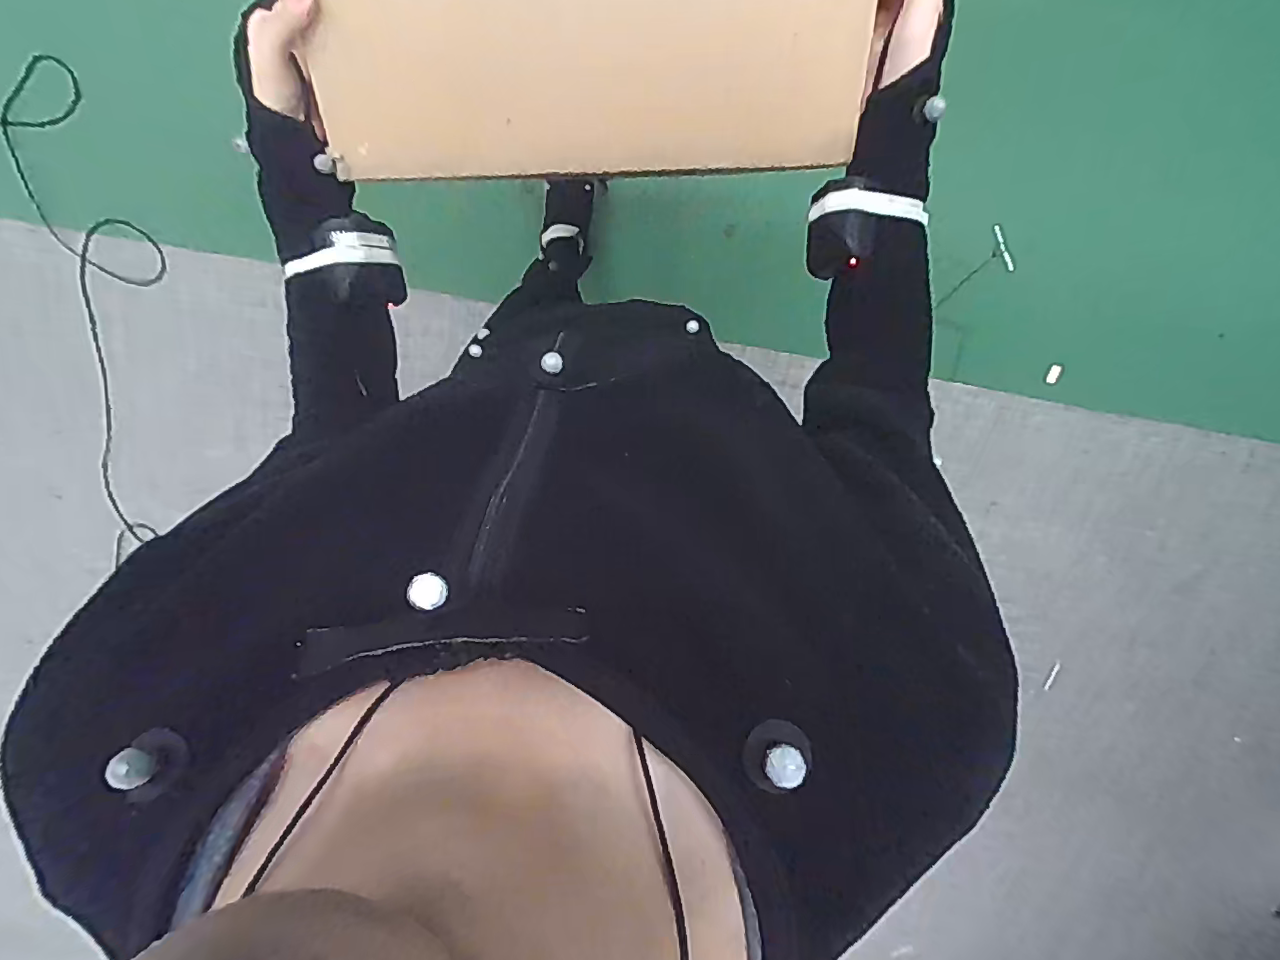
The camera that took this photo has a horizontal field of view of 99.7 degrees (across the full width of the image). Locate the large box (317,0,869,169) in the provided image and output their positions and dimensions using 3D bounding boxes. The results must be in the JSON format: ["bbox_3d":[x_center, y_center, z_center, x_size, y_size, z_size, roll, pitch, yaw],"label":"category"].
[{"bbox_3d":[-0.036,-0.468,0.489,0.408,0.320,0.320,-2,119,-1],"label":"large box"}]
